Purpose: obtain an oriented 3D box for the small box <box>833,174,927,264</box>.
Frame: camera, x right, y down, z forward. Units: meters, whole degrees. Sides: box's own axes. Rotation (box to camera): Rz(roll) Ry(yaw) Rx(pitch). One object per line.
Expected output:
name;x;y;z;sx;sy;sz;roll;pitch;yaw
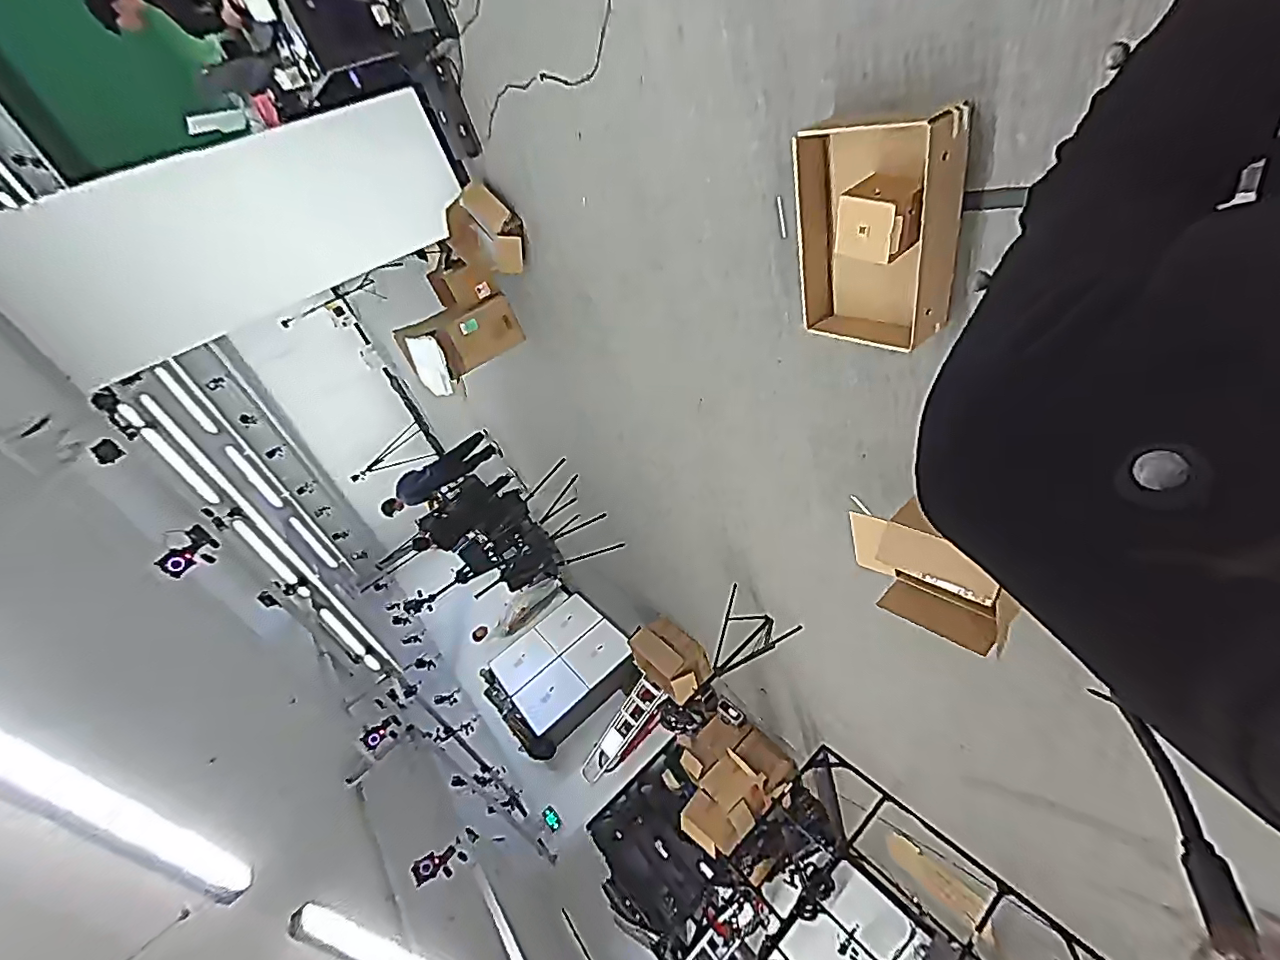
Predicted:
small box;0.675;-0.740;1.525;0.179;0.176;0.168;35;153;36
